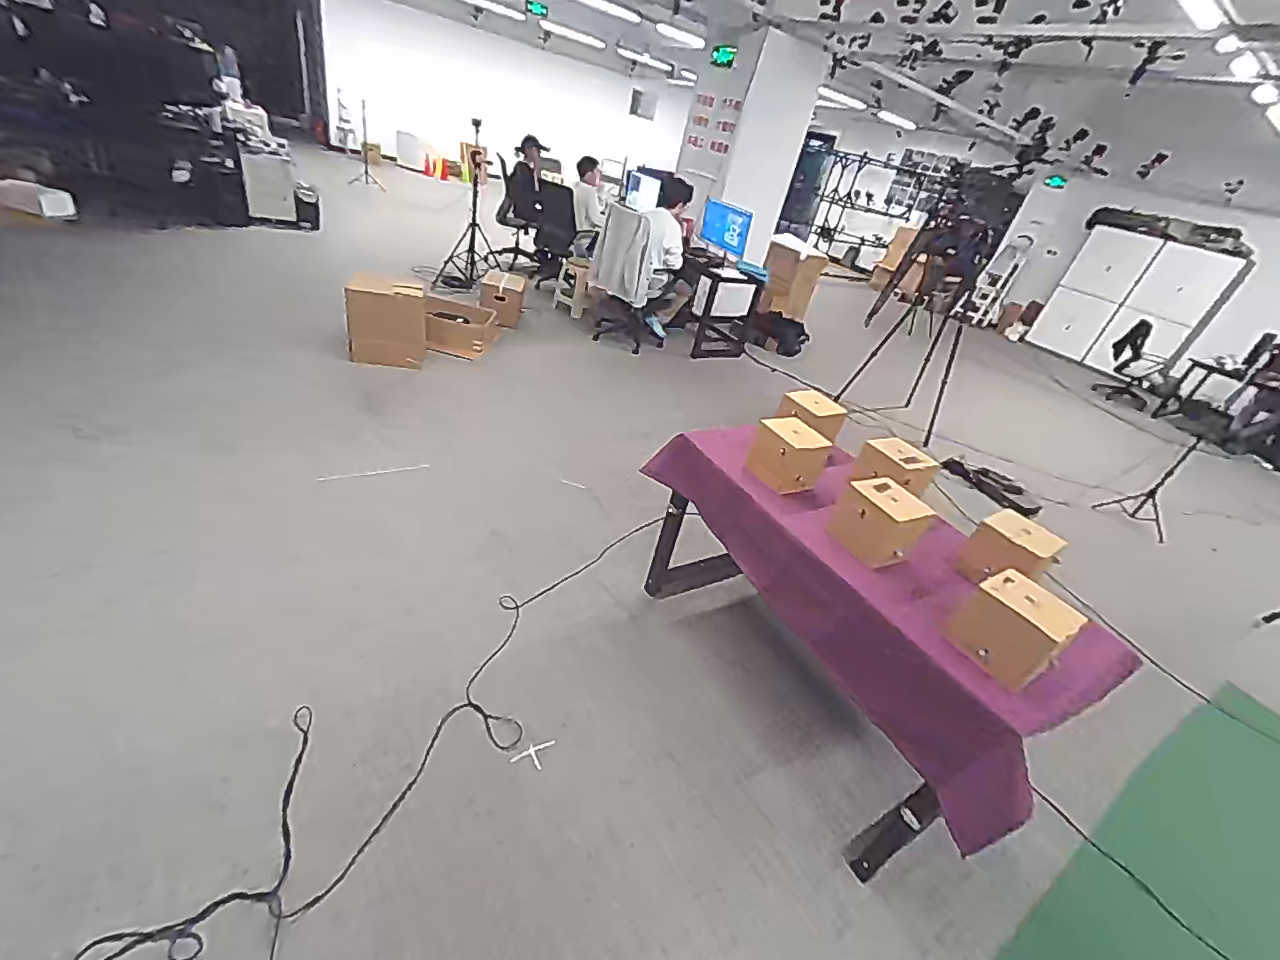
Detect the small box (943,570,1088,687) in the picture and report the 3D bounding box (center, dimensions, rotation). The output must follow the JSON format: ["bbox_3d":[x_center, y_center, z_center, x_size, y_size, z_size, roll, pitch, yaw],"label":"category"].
[{"bbox_3d":[0.833,0.335,1.212,0.168,0.176,0.179,-9,39,-33],"label":"small box"}]

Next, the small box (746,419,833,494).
[{"bbox_3d":[0.464,-0.077,1.708,0.168,0.176,0.179,-7,39,-31],"label":"small box"}]

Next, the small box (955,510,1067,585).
[{"bbox_3d":[1.008,0.208,1.481,0.179,0.176,0.168,-11,39,-34],"label":"small box"}]

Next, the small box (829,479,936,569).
[{"bbox_3d":[0.654,0.117,1.482,0.168,0.176,0.179,-6,38,-30],"label":"small box"}]
